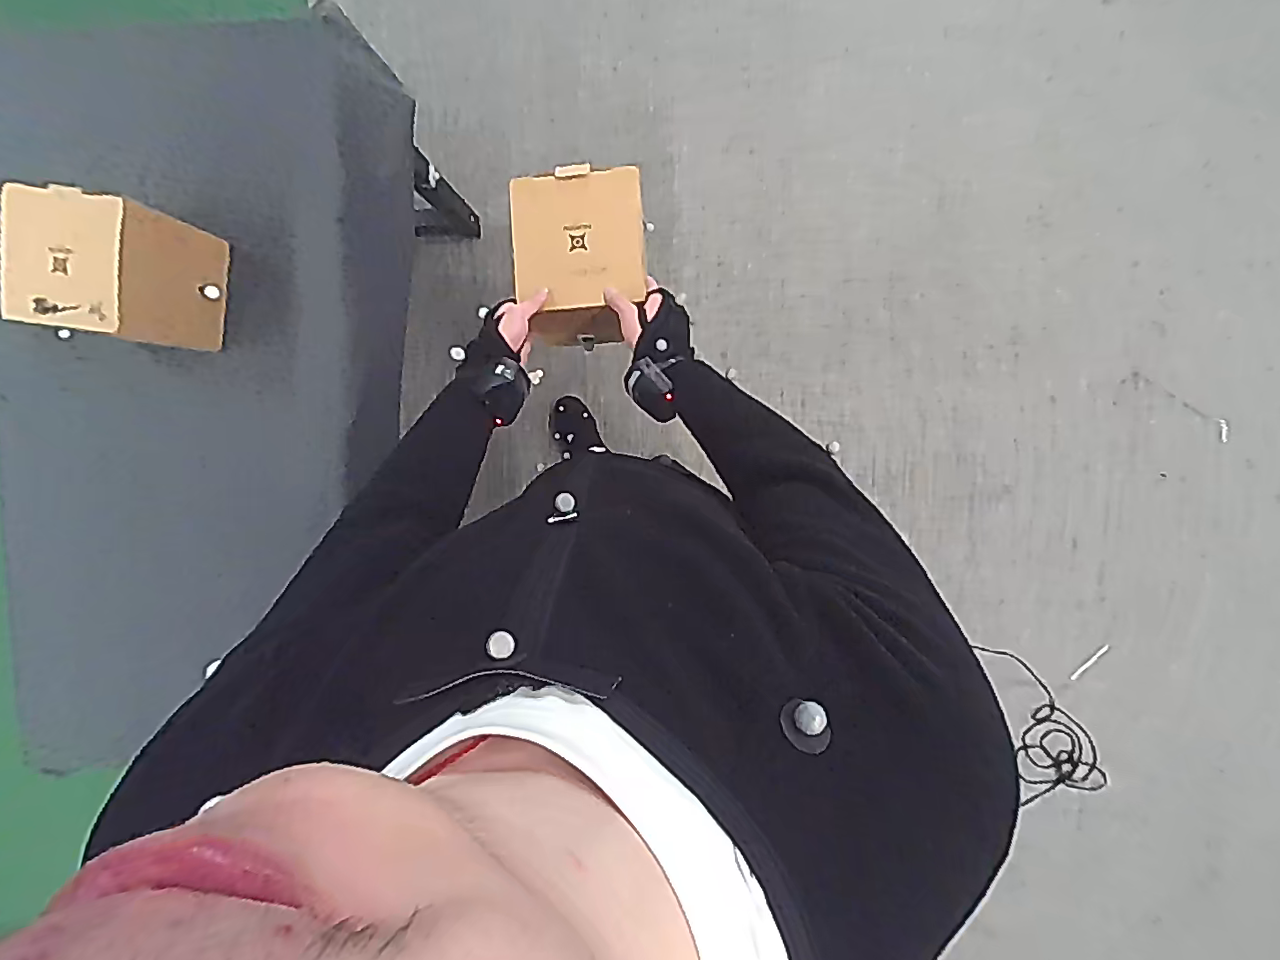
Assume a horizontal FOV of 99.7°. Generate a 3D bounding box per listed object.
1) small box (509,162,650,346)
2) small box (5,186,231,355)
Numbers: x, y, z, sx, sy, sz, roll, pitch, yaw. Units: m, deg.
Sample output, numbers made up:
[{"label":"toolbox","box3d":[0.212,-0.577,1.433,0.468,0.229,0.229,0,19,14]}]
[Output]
[{"label":"small box","box3d":[-0.074,-0.296,0.740,0.168,0.176,0.179,-2,88,5]},{"label":"small box","box3d":[-0.740,-0.291,0.785,0.168,0.176,0.179,8,95,3]}]
